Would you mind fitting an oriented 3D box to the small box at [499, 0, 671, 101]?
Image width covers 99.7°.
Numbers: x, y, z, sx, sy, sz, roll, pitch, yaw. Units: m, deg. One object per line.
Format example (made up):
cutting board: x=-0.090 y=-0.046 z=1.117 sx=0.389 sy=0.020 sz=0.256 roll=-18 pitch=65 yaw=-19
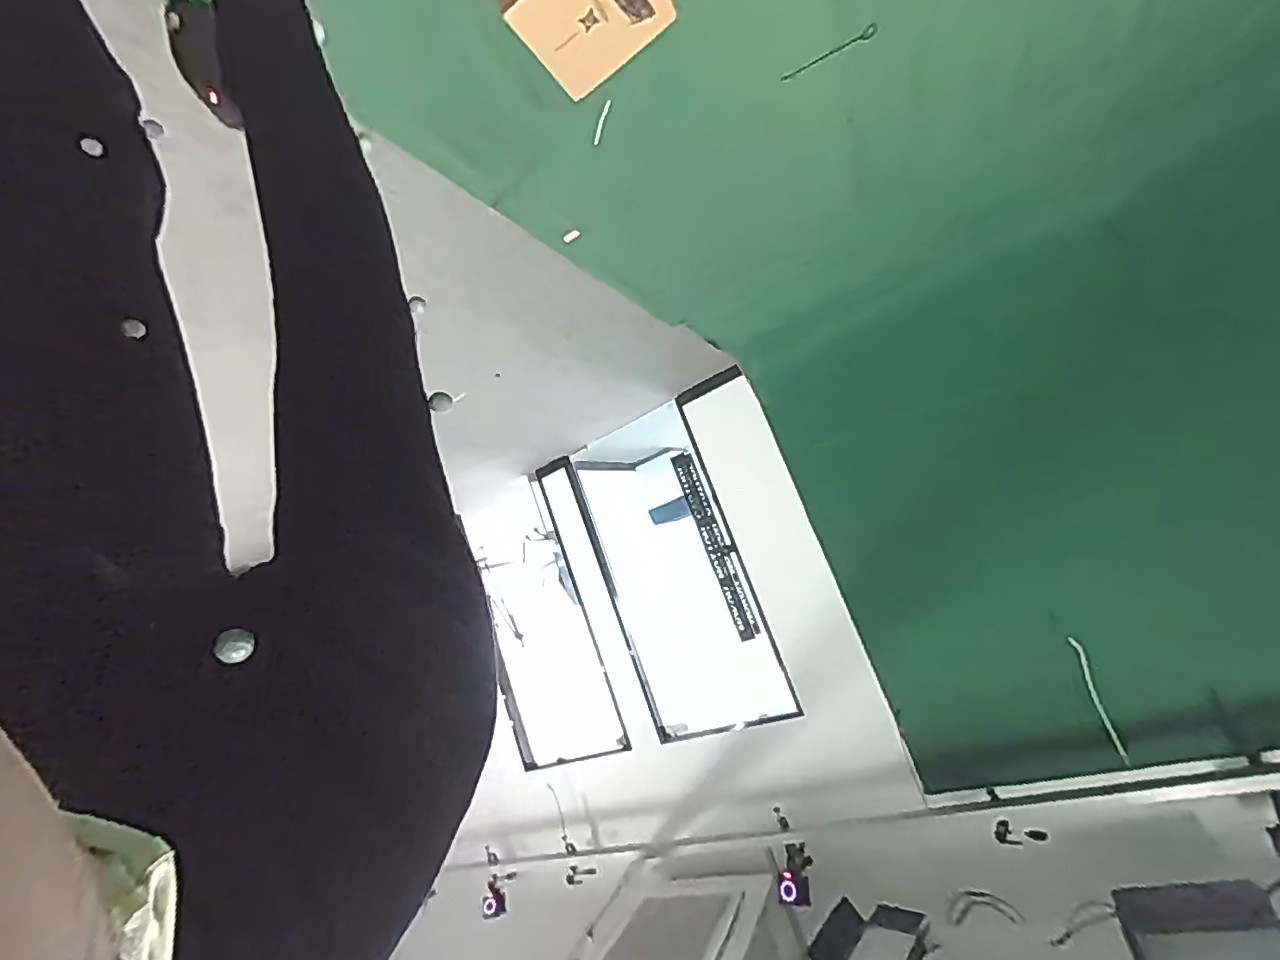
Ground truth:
small box: x=-0.091 y=-0.659 z=0.695 sx=0.179 sy=0.176 sz=0.168 roll=-25 pitch=170 yaw=23
